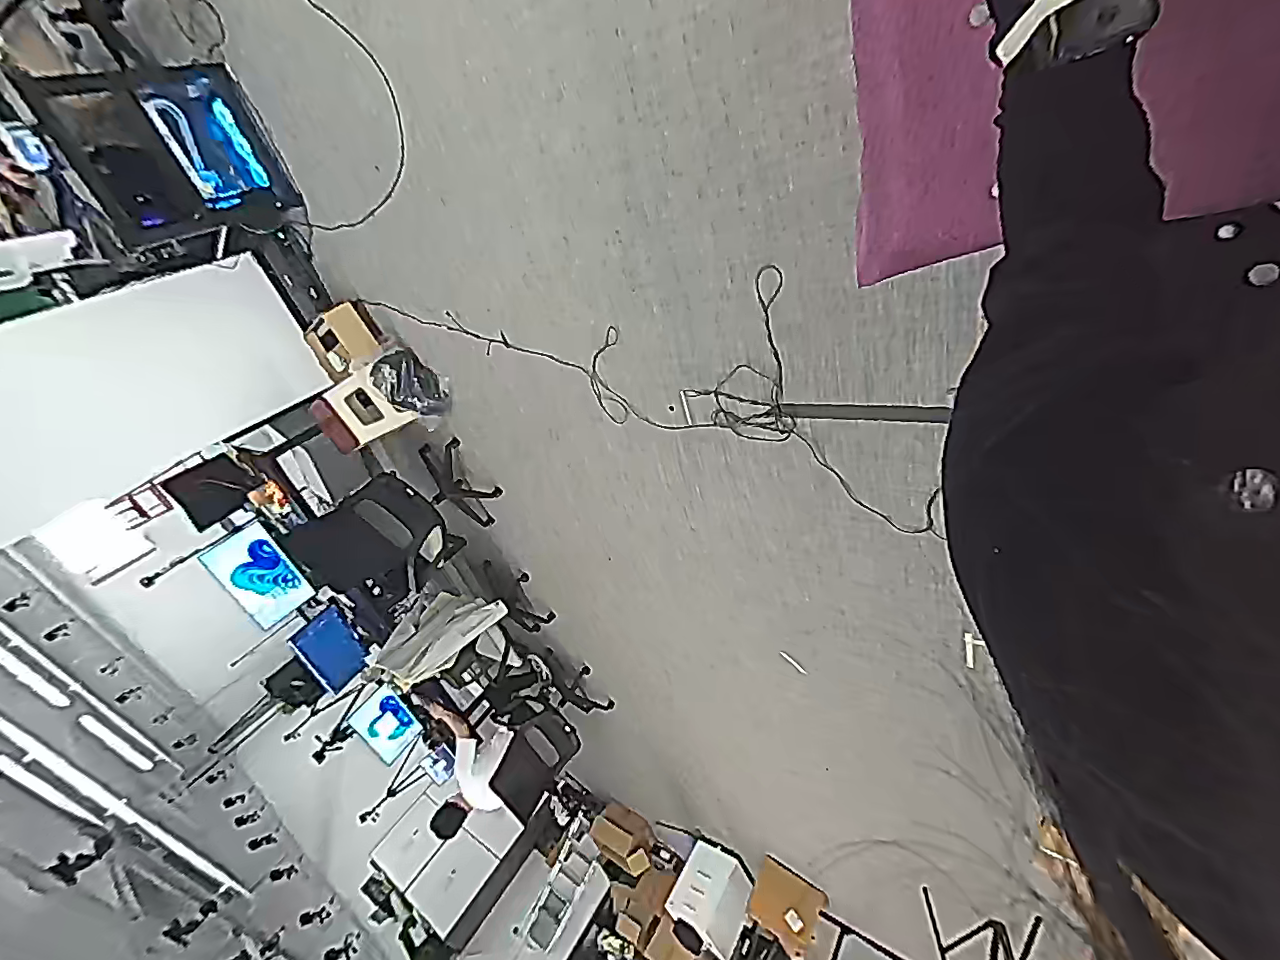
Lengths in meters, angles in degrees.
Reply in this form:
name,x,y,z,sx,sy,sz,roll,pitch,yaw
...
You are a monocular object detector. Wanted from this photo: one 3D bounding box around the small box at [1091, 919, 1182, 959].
name,x,y,z,sx,sy,sz,roll,pitch,yaw
small box,1.333,1.337,1.452,0.168,0.176,0.179,12,132,35
